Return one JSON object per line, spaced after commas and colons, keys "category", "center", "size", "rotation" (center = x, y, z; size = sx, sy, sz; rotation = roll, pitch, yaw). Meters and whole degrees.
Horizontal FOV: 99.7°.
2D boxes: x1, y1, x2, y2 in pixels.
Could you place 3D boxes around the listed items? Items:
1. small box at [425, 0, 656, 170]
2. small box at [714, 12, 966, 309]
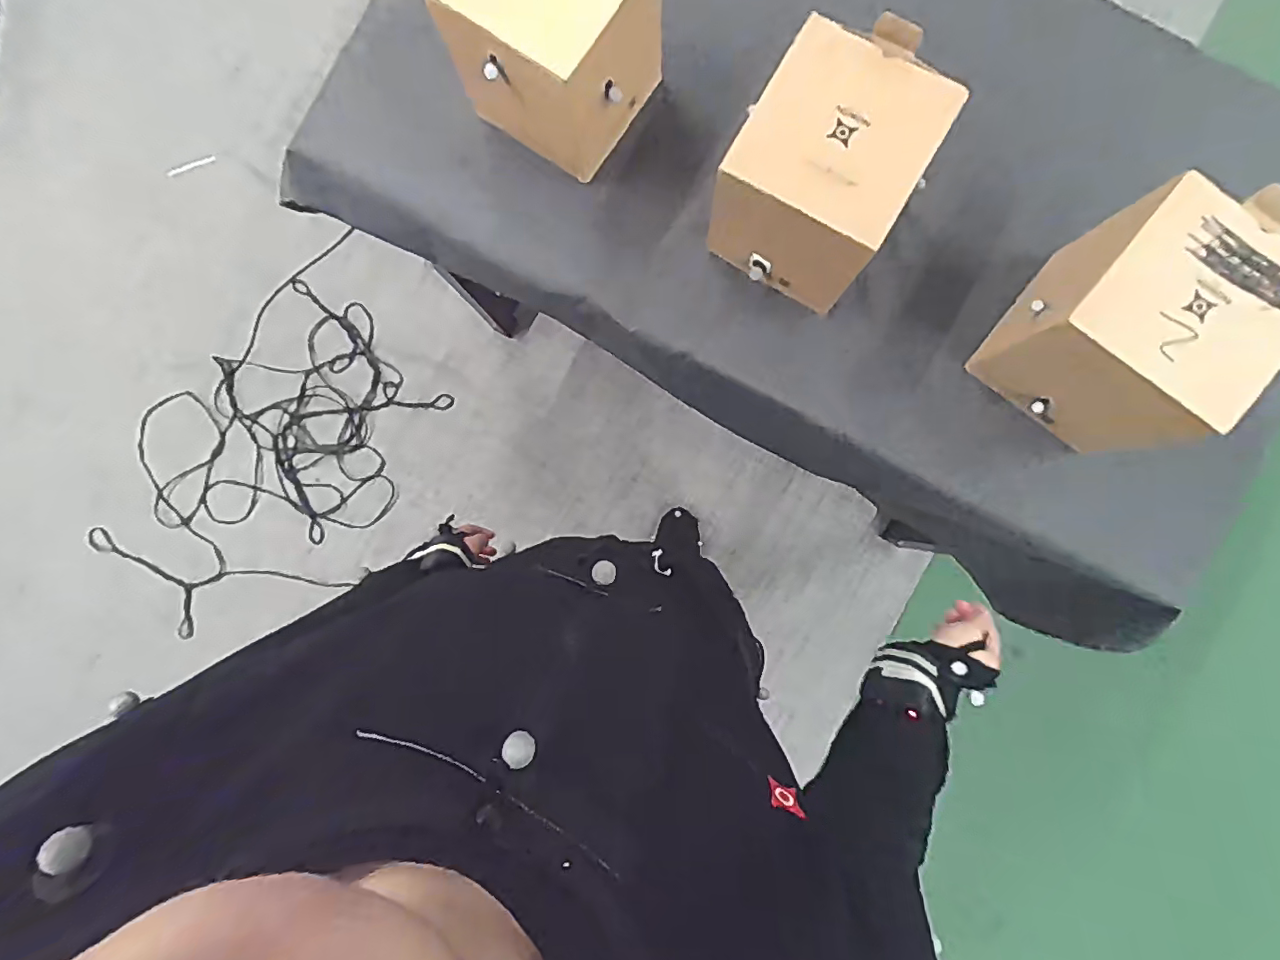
{"category": "small box", "center": [-0.092, -0.483, 0.590], "size": [0.179, 0.176, 0.168], "rotation": [34, 88, 3]}
{"category": "small box", "center": [0.190, -0.318, 0.575], "size": [0.168, 0.176, 0.179], "rotation": [29, 89, 4]}
